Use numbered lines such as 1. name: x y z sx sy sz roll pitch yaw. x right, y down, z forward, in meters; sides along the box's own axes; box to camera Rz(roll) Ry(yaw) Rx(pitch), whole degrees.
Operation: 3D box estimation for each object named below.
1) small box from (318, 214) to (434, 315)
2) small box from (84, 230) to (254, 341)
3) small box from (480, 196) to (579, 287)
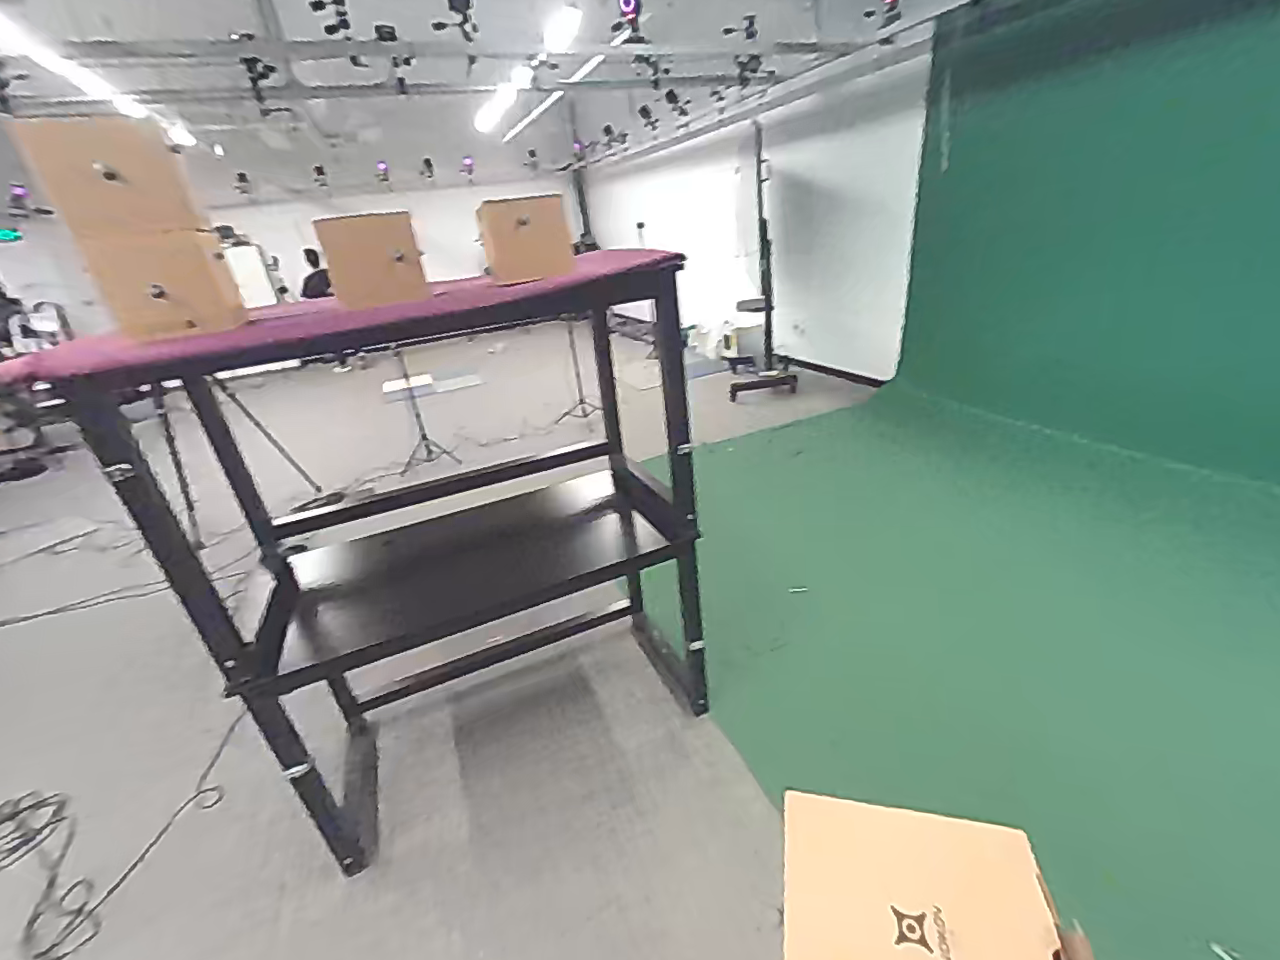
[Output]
1. small box: -0.539 -0.449 1.126 0.179 0.176 0.168 -17 27 -19
2. small box: -0.837 -0.354 0.986 0.168 0.176 0.179 -16 27 -21
3. small box: -0.256 -0.545 1.252 0.179 0.176 0.168 -15 24 -17
